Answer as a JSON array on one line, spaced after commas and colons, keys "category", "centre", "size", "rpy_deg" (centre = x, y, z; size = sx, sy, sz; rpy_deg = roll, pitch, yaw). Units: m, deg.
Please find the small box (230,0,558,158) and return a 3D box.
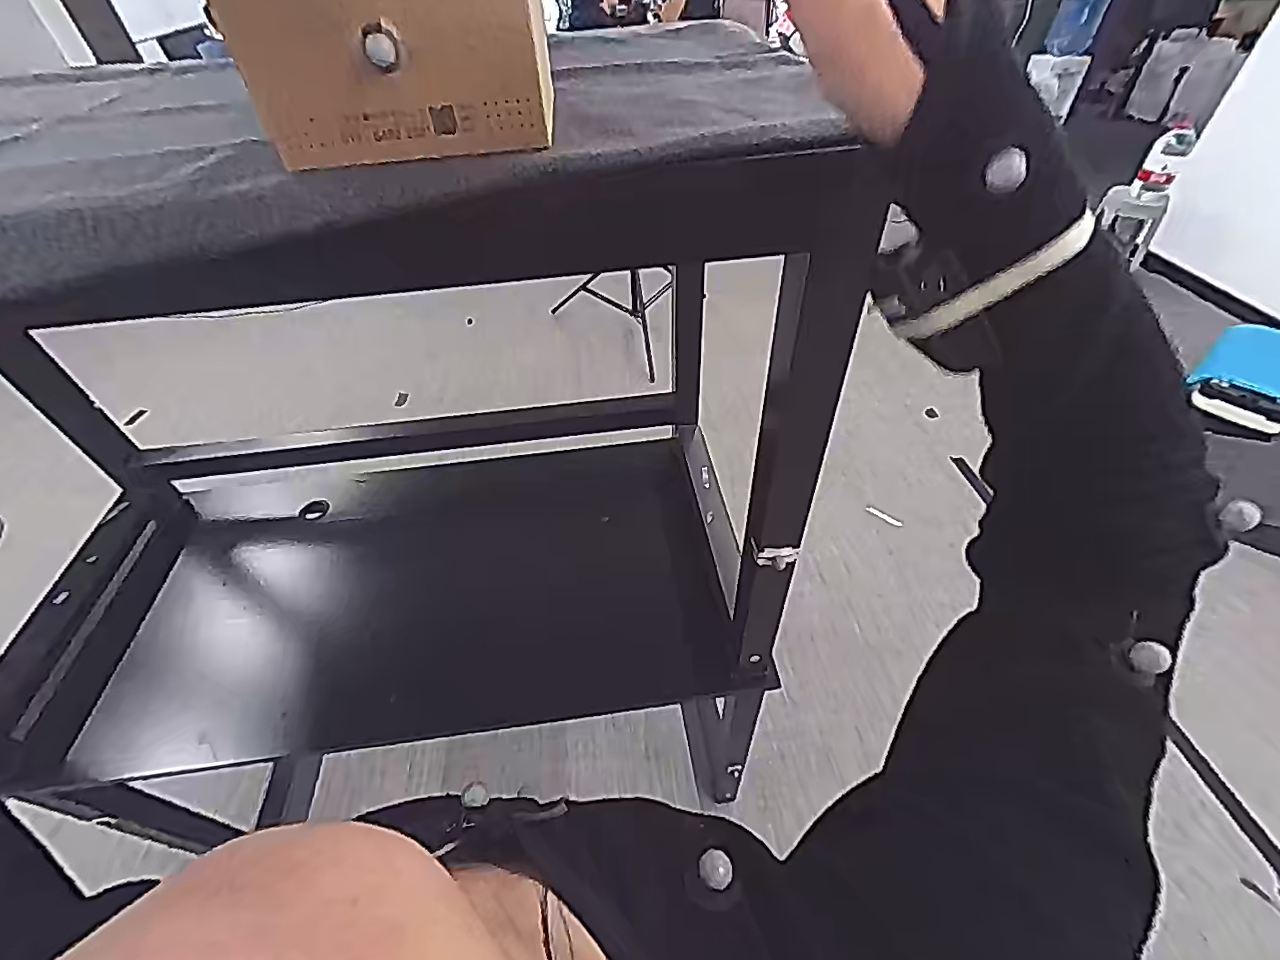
[{"category": "small box", "centre": [-0.148, -0.319, 0.338], "size": [0.168, 0.176, 0.179], "rpy_deg": [-7, 45, -2]}]
